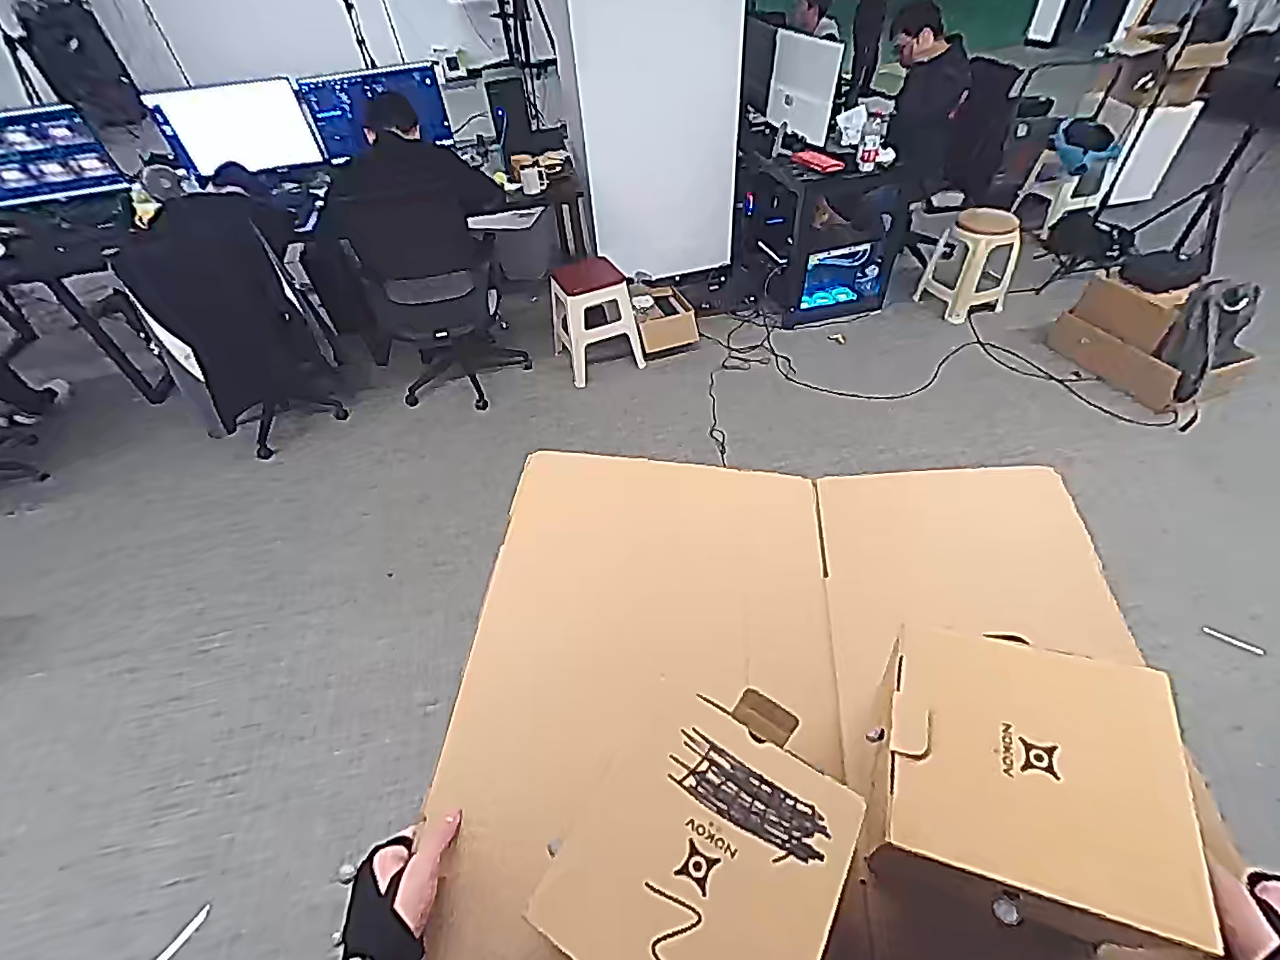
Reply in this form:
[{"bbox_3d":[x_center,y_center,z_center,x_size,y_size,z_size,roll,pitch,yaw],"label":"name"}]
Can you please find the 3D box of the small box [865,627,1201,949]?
[{"bbox_3d":[0.294,0.247,0.450,0.179,0.176,0.168,6,55,23],"label":"small box"}]
